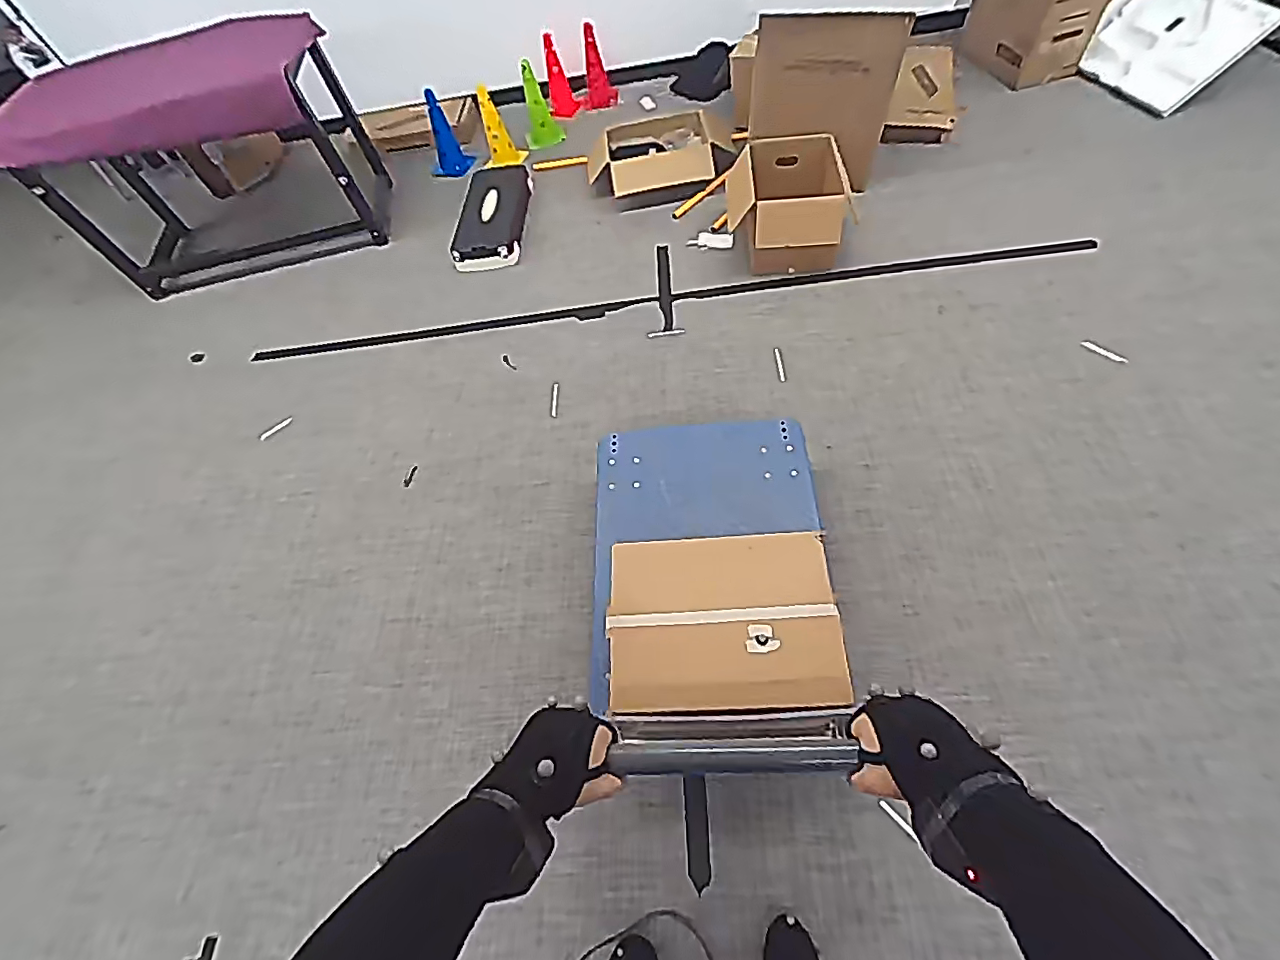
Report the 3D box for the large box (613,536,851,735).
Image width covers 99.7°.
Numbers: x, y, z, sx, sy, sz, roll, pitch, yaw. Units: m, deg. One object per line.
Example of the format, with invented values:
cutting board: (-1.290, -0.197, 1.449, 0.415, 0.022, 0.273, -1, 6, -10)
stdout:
large box: (0.165, 0.332, 1.113, 0.408, 0.320, 0.320, -5, 60, 5)
